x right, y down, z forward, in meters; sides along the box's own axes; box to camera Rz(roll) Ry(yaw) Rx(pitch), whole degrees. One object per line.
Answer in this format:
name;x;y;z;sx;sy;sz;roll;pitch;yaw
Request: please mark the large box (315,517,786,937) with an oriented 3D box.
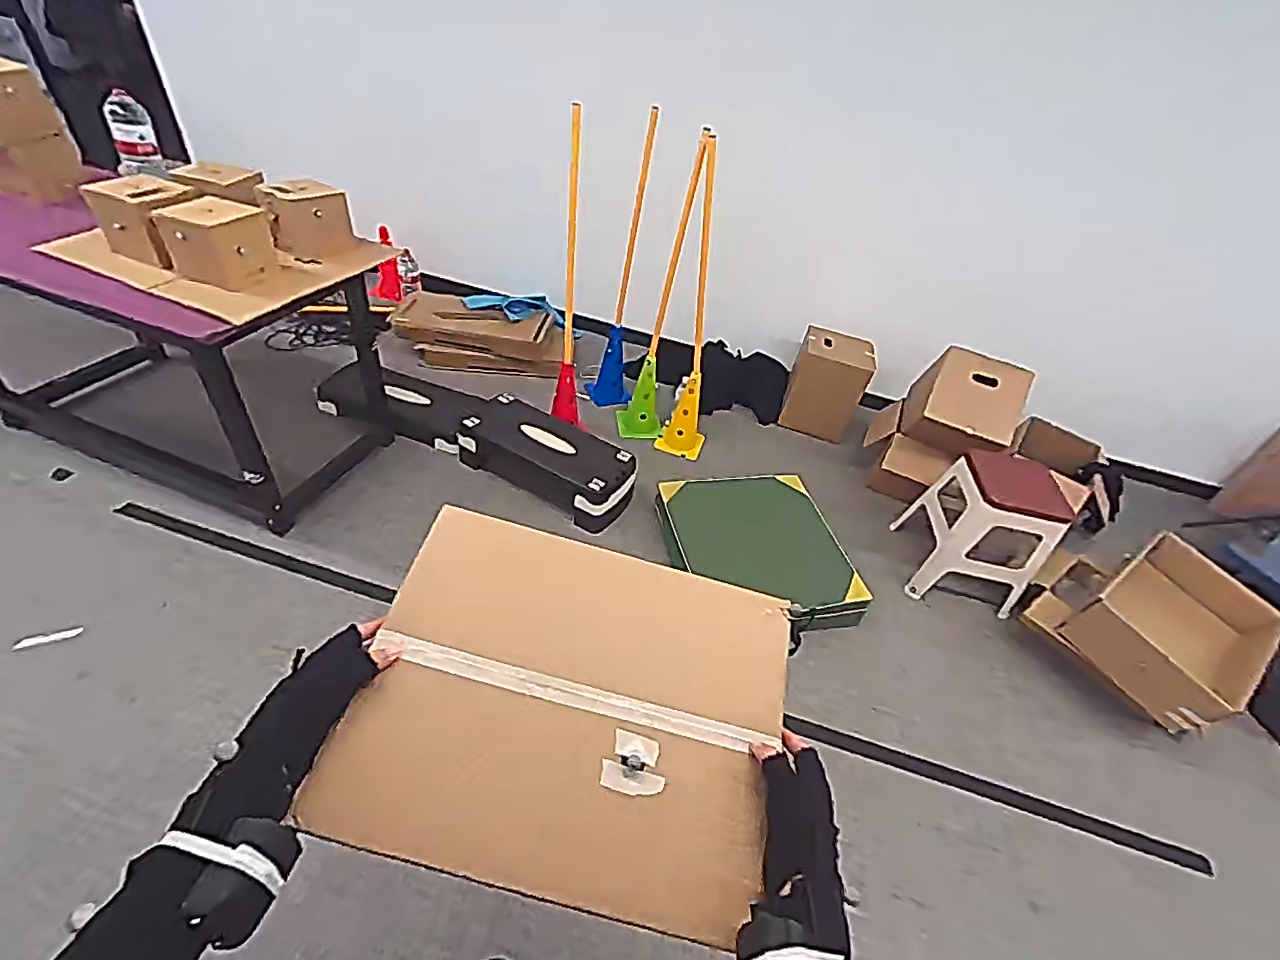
large box;-0.079;0.294;0.664;0.408;0.320;0.320;16;57;0
